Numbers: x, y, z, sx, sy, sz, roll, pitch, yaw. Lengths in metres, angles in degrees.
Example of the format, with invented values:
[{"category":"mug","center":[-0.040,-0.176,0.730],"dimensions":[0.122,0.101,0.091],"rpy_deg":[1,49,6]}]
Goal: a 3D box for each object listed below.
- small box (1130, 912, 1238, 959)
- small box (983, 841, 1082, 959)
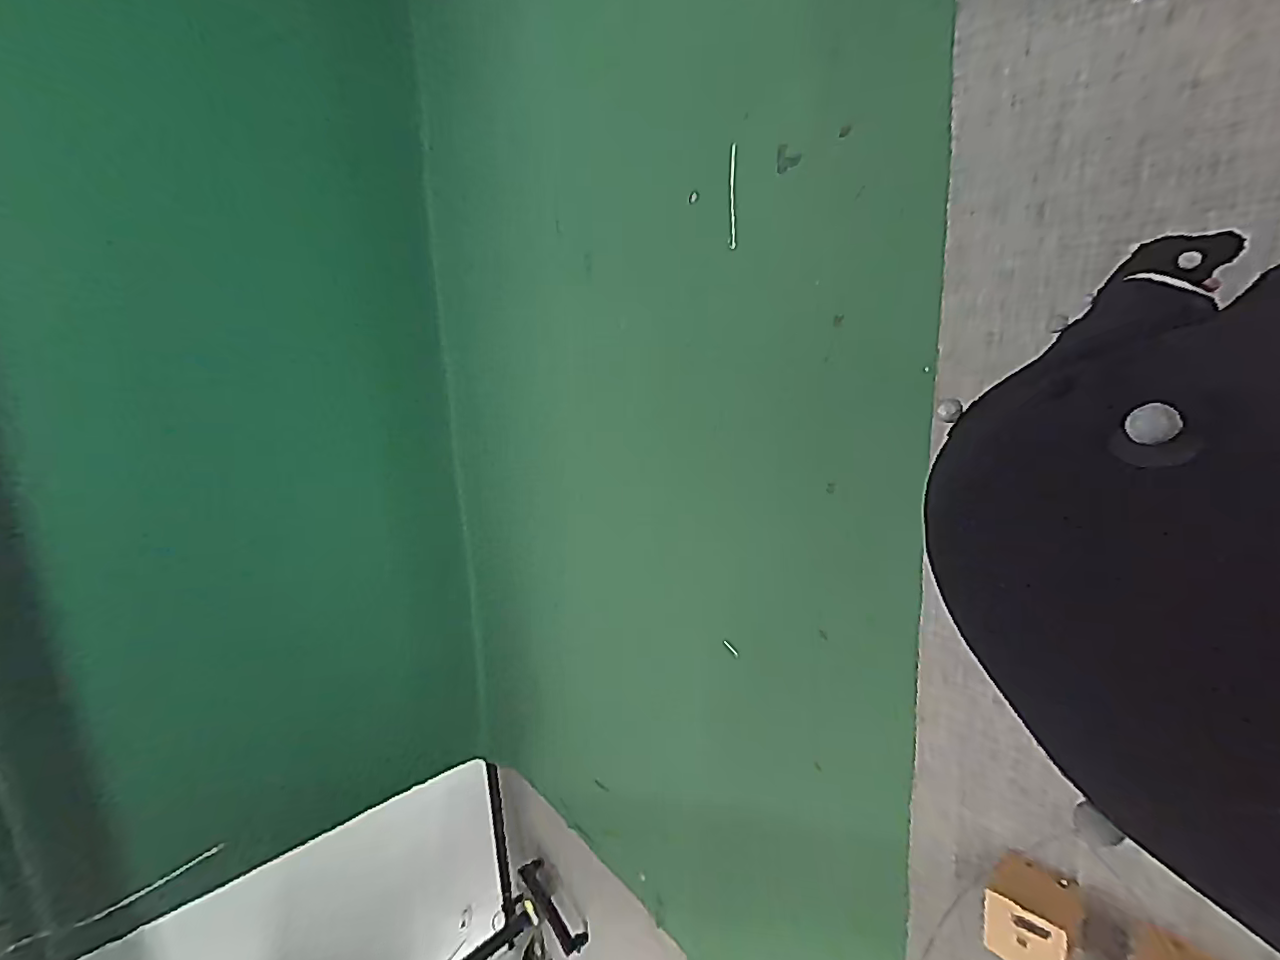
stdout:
[{"category":"small box","center":[1.161,1.098,1.156],"dimensions":[0.168,0.176,0.179],"rpy_deg":[13,108,49]},{"category":"small box","center":[0.986,1.065,1.357],"dimensions":[0.168,0.176,0.179],"rpy_deg":[8,106,49]}]
